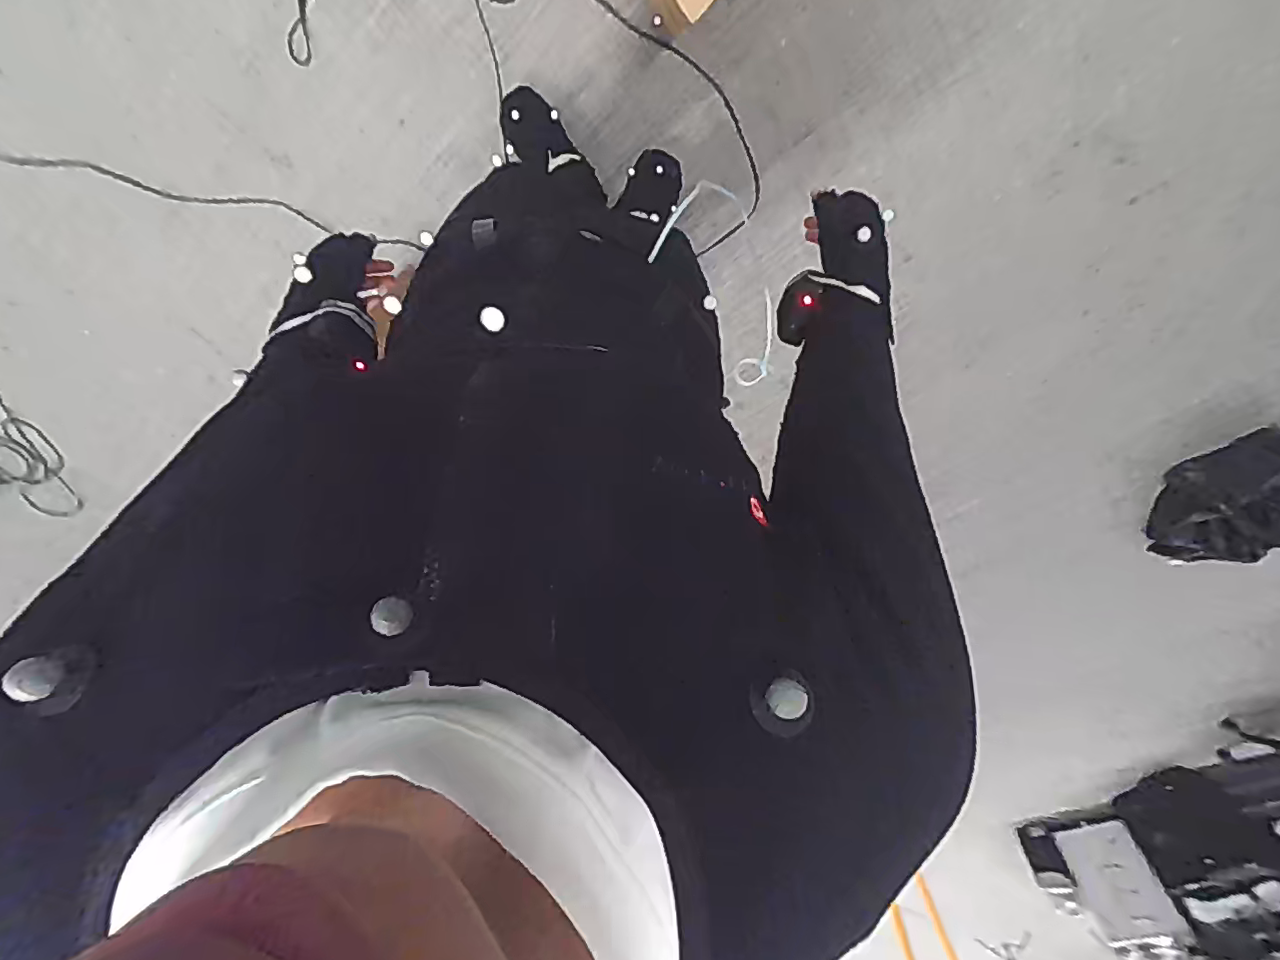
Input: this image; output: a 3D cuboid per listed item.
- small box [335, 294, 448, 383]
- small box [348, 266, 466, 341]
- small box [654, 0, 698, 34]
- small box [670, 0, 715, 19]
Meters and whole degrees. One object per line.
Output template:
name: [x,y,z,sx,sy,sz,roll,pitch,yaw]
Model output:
small box: [-0.563,-0.288,1.201,0.168,0.176,0.179,-30,124,22]
small box: [-0.562,-0.398,1.326,0.168,0.176,0.179,-31,121,27]
small box: [0.077,-0.906,0.912,0.168,0.176,0.179,-35,121,24]
small box: [0.084,-0.811,0.779,0.168,0.176,0.179,-34,122,24]
